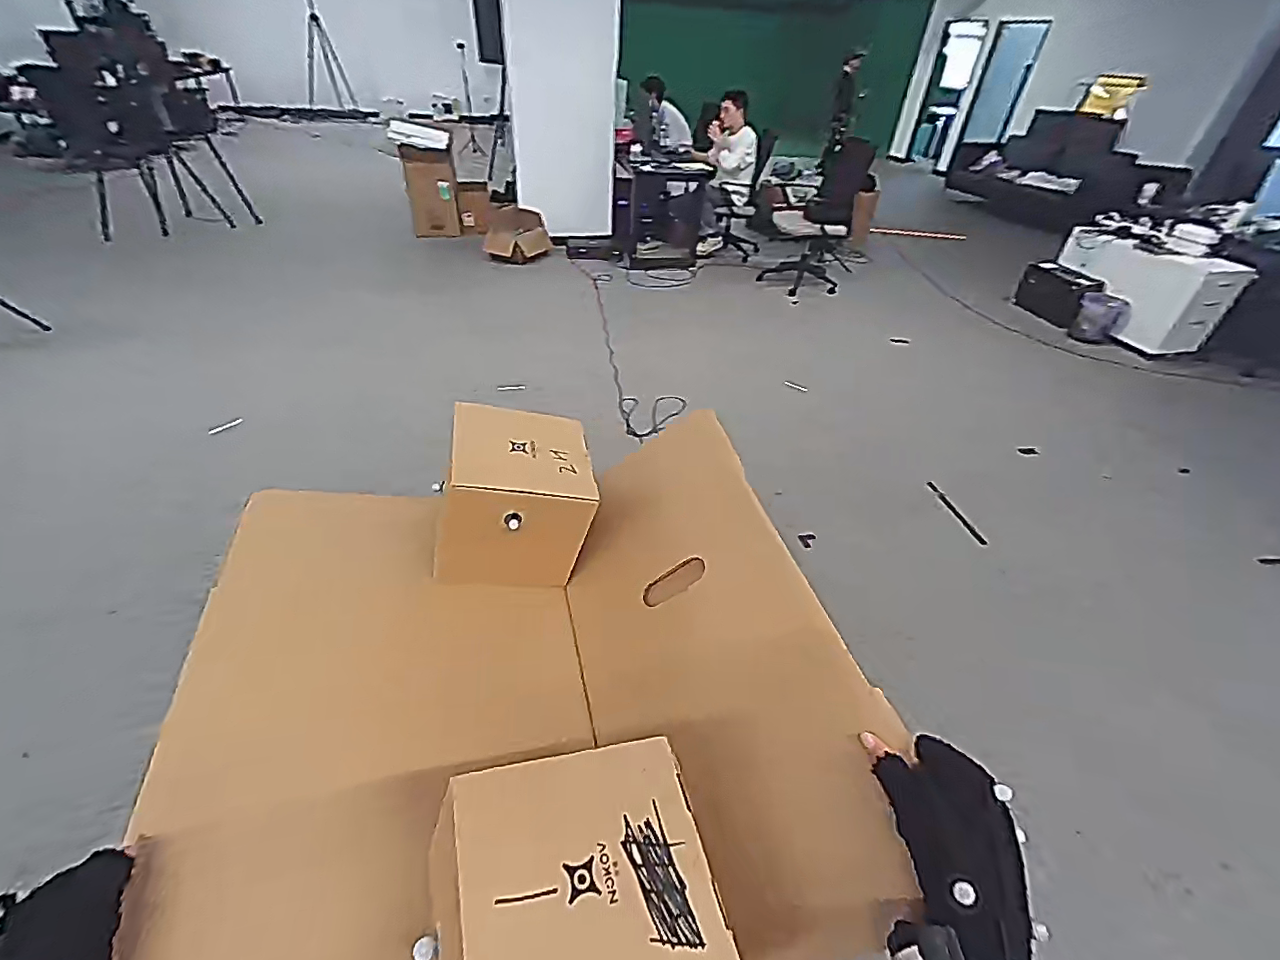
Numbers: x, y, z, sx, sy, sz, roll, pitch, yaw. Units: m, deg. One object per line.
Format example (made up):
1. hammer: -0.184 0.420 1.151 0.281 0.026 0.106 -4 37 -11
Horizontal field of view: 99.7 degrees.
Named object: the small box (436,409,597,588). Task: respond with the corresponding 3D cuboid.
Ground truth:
1. small box: -0.172 0.029 0.730 0.179 0.176 0.168 8 39 -22
